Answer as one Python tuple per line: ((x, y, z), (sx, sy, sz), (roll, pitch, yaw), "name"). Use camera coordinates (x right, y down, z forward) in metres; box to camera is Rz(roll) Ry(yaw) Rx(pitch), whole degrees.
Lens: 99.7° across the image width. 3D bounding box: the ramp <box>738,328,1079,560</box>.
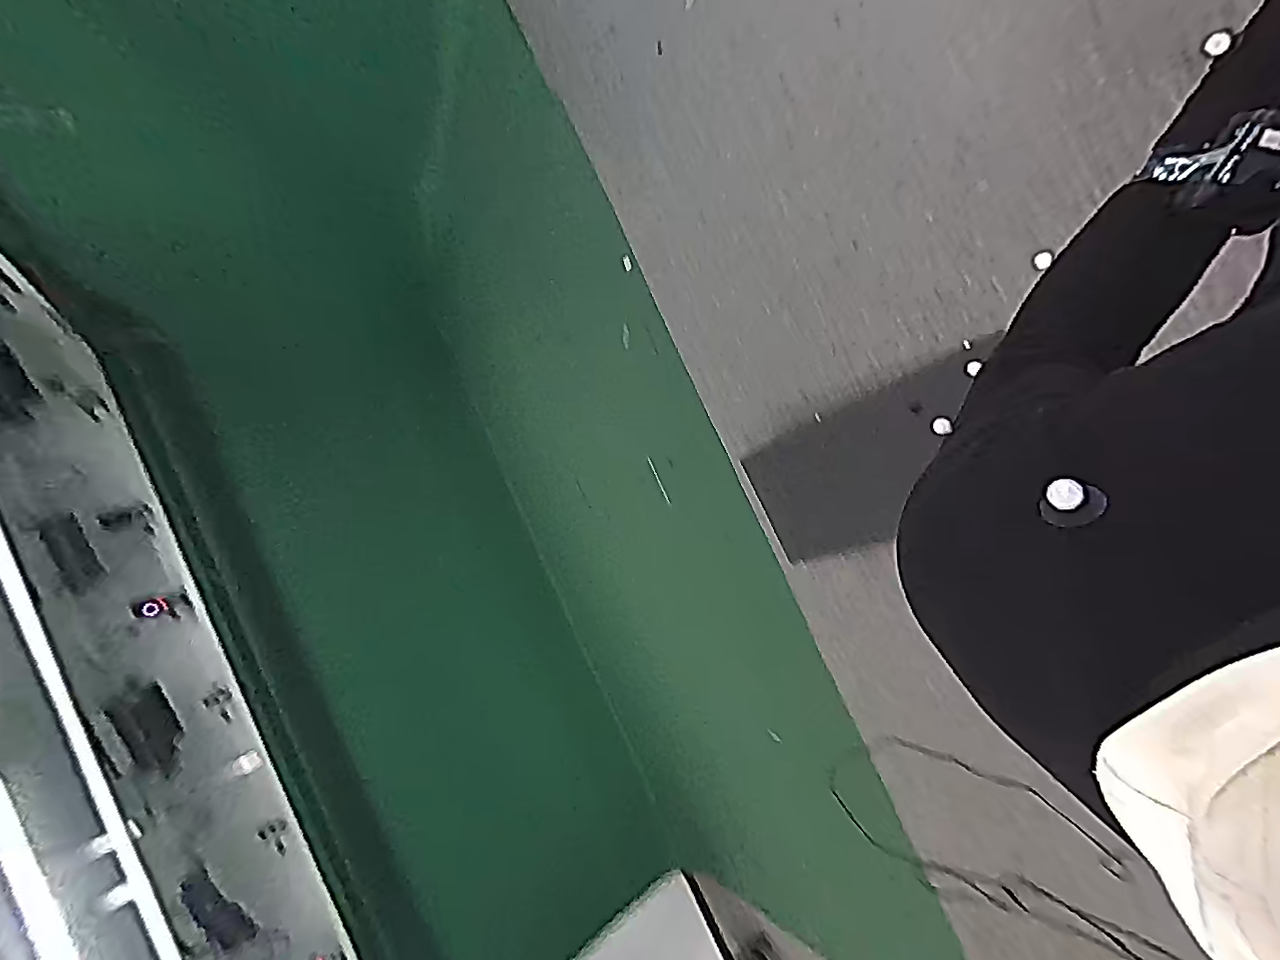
((0.788, -0.051, 1.825), (0.991, 0.206, 0.509), (-32, 82, 59), "ramp")
